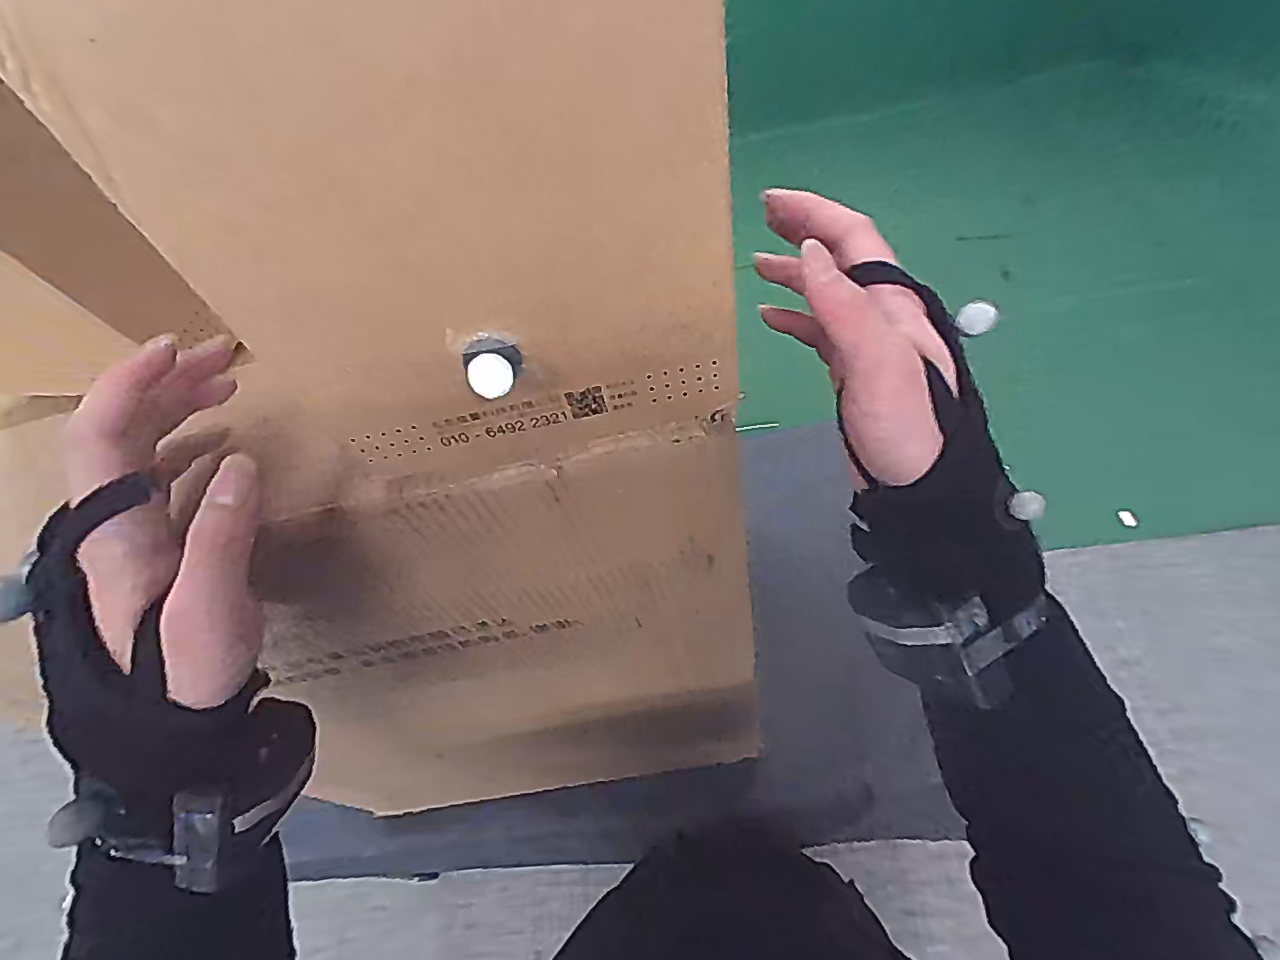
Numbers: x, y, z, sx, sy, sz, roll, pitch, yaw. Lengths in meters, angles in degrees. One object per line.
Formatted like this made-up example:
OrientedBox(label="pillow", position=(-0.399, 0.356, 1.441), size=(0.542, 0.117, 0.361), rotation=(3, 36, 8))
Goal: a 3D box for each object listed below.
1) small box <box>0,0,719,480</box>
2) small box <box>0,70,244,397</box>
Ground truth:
OrientedBox(label="small box", position=(-0.066, -0.127, 0.222), size=(0.168, 0.176, 0.179), rotation=(-11, 52, 4))
OrientedBox(label="small box", position=(-0.335, -0.156, 0.288), size=(0.179, 0.176, 0.168), rotation=(1, 64, 11))
